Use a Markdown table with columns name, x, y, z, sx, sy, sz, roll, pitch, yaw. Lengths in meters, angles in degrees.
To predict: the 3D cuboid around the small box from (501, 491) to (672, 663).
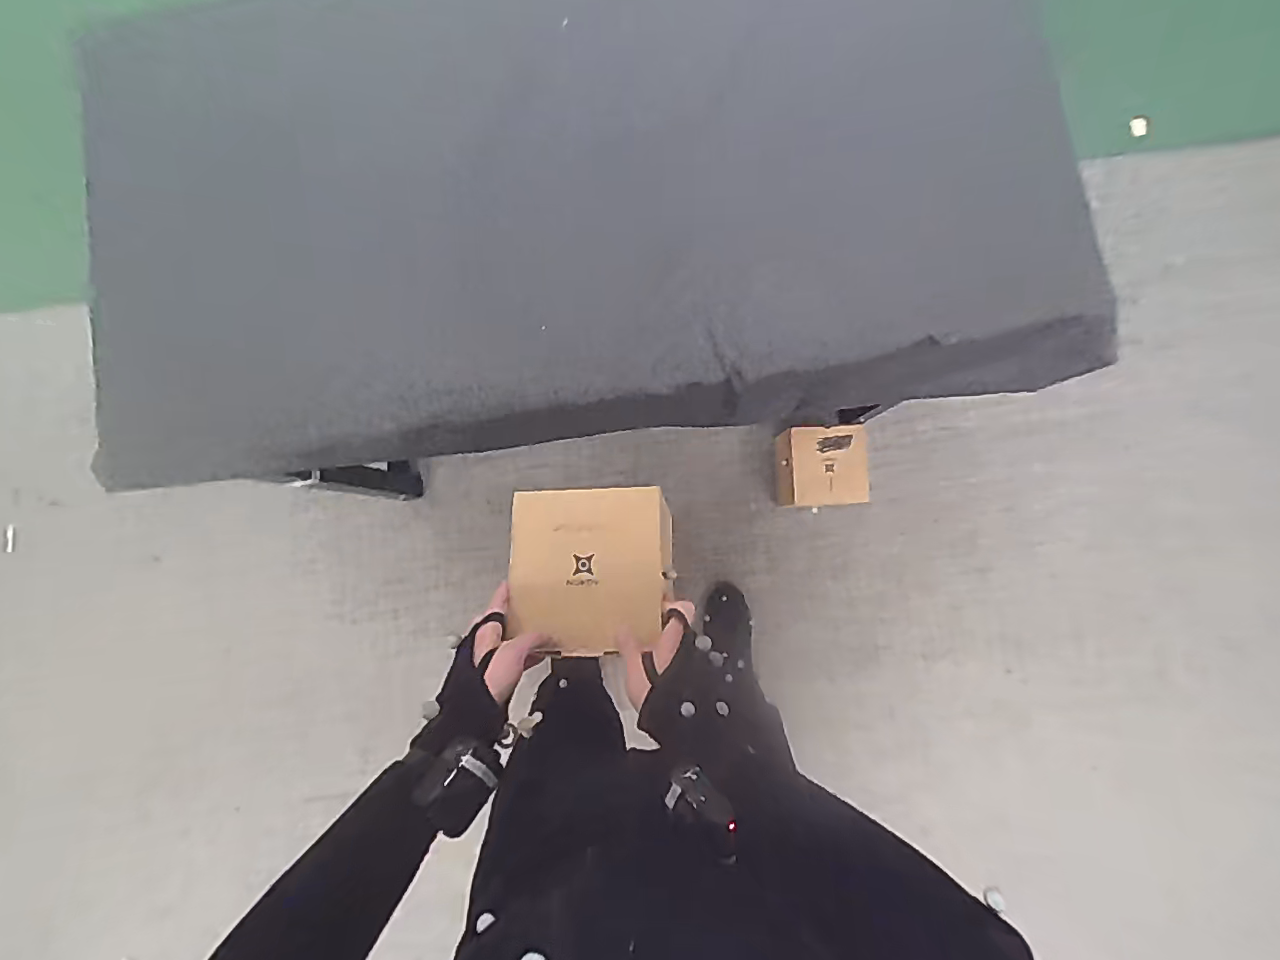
| name | x | y | z | sx | sy | sz | roll | pitch | yaw |
| --- | --- | --- | --- | --- | --- | --- | --- | --- | --- |
| small box | -0.052 | 0.120 | 0.642 | 0.168 | 0.176 | 0.179 | -4 | 73 | 8 |

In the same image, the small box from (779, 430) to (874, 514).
| name | x | y | z | sx | sy | sz | roll | pitch | yaw |
| --- | --- | --- | --- | --- | --- | --- | --- | --- | --- |
| small box | 0.426 | -0.014 | 1.260 | 0.168 | 0.176 | 0.179 | -2 | 85 | 3 |
